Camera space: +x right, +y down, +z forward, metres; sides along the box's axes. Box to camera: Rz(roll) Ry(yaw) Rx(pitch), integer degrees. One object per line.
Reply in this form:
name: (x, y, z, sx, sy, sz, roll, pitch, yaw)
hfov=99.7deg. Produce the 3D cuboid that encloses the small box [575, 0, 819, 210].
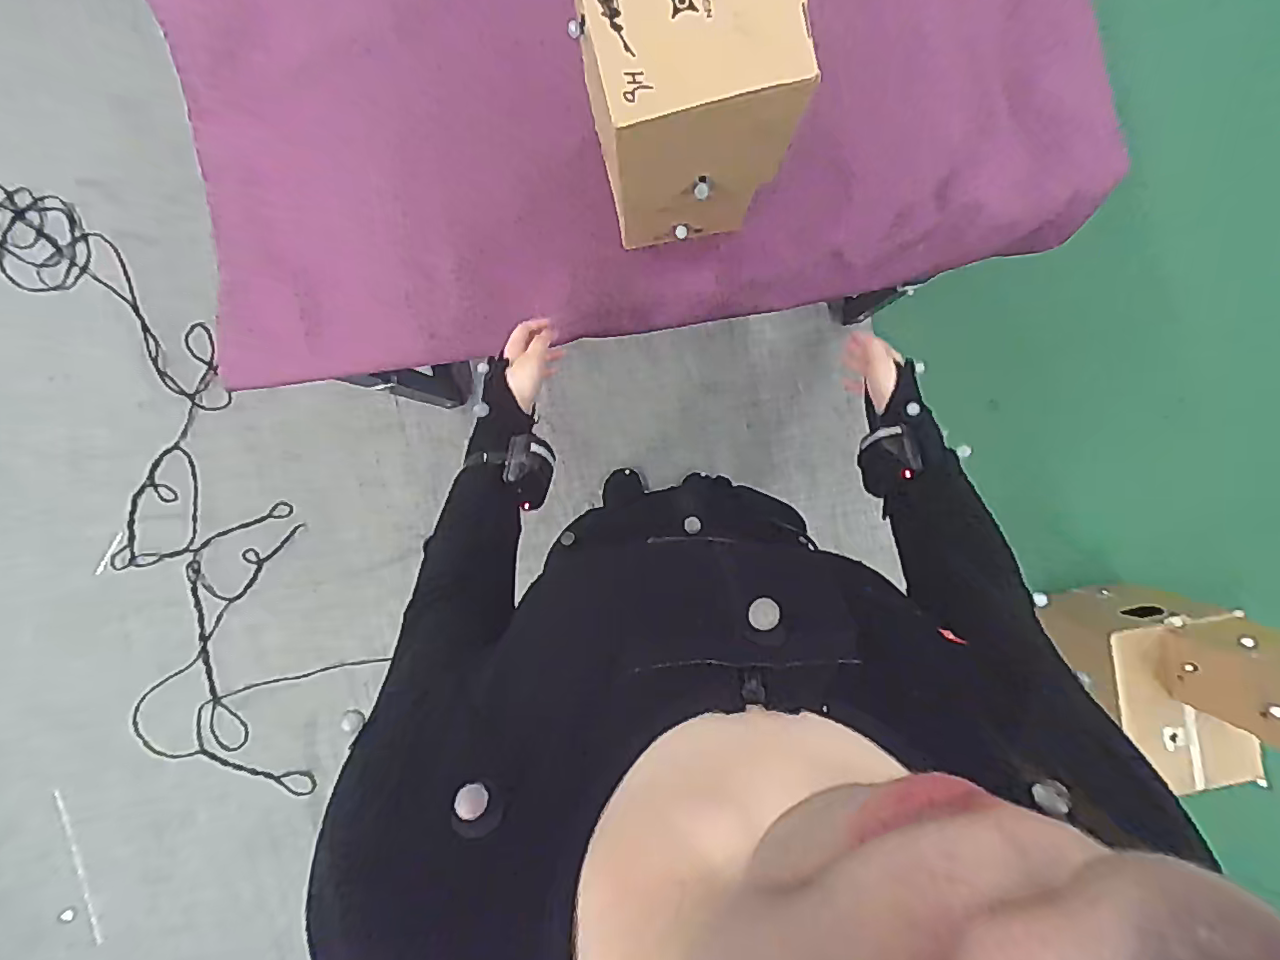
small box: (0.040, -0.385, 0.505, 0.179, 0.176, 0.168, -14, 92, 0)

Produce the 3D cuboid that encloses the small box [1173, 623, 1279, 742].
small box: (1.277, 0.409, 1.120, 0.179, 0.176, 0.168, -10, 93, 0)

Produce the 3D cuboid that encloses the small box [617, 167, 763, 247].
small box: (0.043, -0.419, 0.667, 0.168, 0.176, 0.179, -11, 92, 1)

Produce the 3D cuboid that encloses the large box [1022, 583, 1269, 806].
large box: (1.244, 0.513, 1.366, 0.320, 0.320, 0.408, -10, 93, 1)

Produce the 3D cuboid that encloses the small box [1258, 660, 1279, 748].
small box: (1.276, 0.419, 0.955, 0.179, 0.176, 0.168, -11, 92, 0)
